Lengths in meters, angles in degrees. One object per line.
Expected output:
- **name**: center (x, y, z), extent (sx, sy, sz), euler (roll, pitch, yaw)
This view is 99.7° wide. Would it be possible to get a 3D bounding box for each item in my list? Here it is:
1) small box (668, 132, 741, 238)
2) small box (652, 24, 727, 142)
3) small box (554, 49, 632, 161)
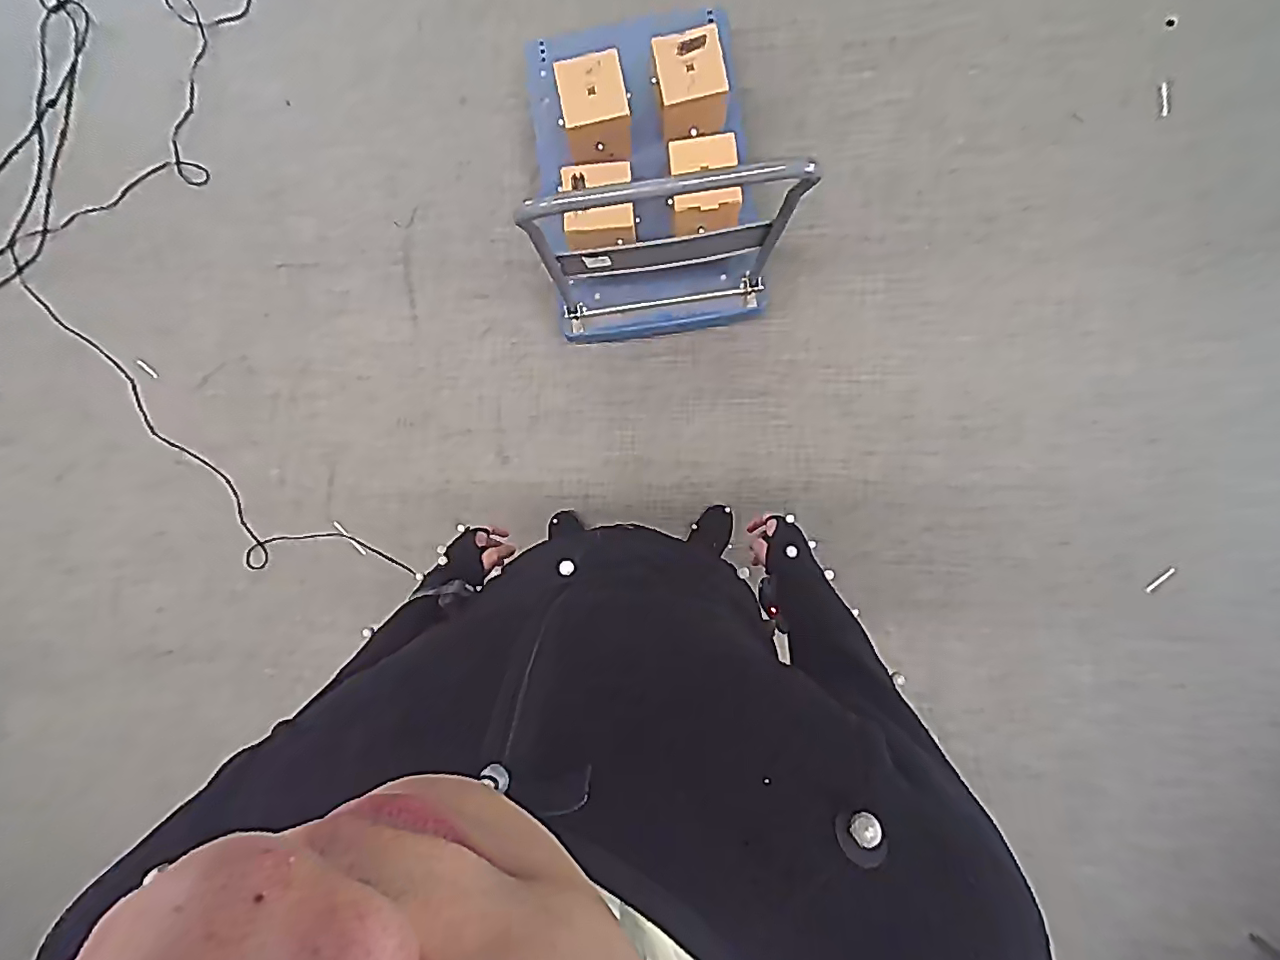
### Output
- **small box**: center (0.163, -0.765, 1.416), extent (0.168, 0.176, 0.179), euler (-7, 89, 3)
- **small box**: center (0.127, -1.033, 1.423), extent (0.168, 0.176, 0.179), euler (-11, 89, 4)
- **small box**: center (-0.119, -0.982, 1.437), extent (0.168, 0.176, 0.179), euler (-11, 88, 2)
